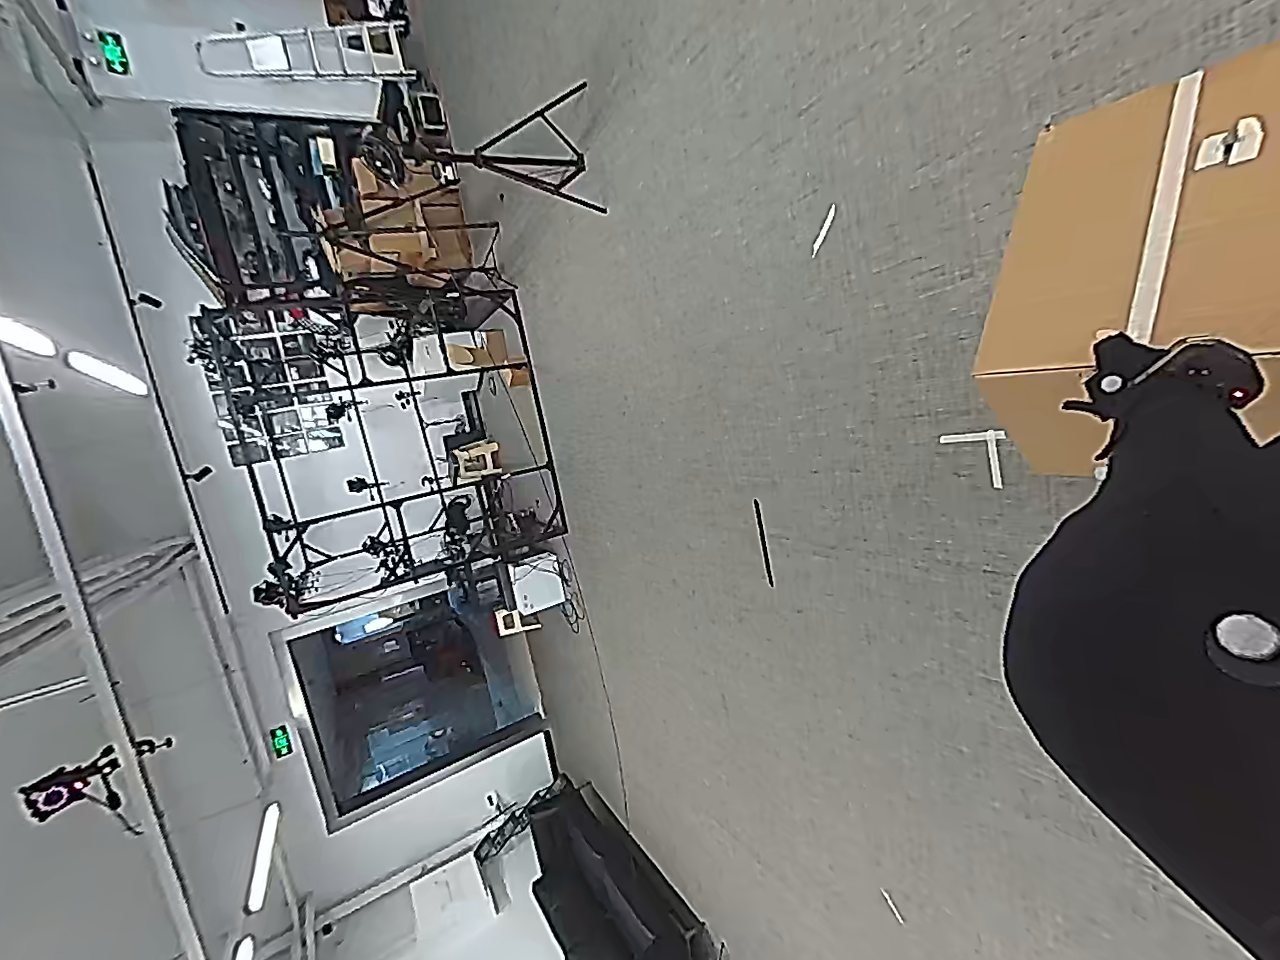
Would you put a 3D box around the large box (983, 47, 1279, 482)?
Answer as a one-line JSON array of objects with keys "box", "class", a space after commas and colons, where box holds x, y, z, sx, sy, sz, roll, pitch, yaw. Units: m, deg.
[{"box": [0.703, -0.240, 0.697, 0.320, 0.320, 0.408, 8, 71, 51], "class": "large box"}]
